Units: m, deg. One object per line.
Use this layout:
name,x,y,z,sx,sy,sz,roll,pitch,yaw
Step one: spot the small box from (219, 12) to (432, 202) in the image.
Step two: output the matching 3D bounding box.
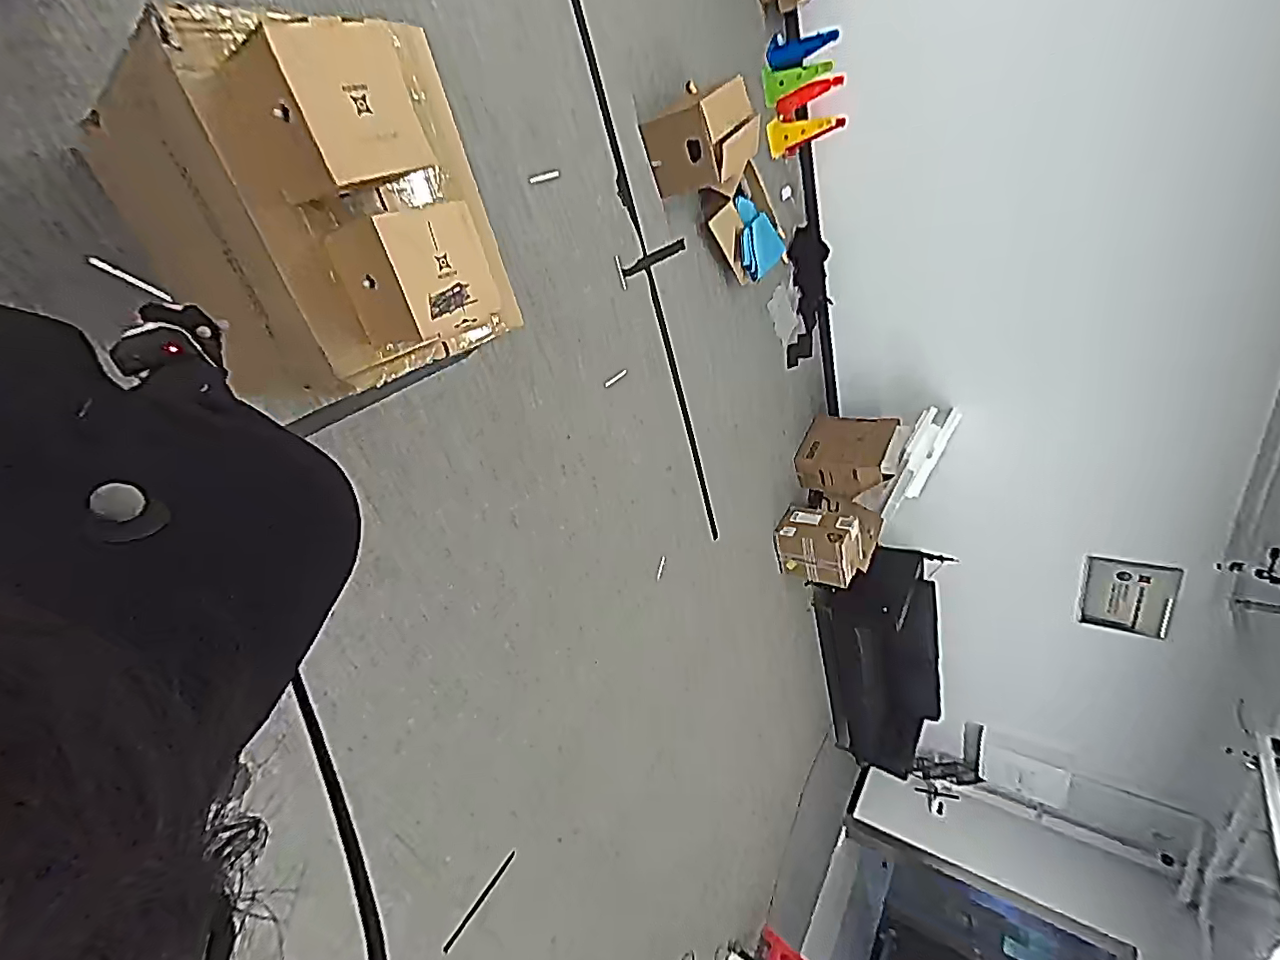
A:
small box,-0.435,-0.510,0.754,0.168,0.176,0.179,-42,129,-39

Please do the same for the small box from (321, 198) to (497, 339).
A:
small box,-0.369,-0.333,0.871,0.168,0.176,0.179,-39,124,-41
